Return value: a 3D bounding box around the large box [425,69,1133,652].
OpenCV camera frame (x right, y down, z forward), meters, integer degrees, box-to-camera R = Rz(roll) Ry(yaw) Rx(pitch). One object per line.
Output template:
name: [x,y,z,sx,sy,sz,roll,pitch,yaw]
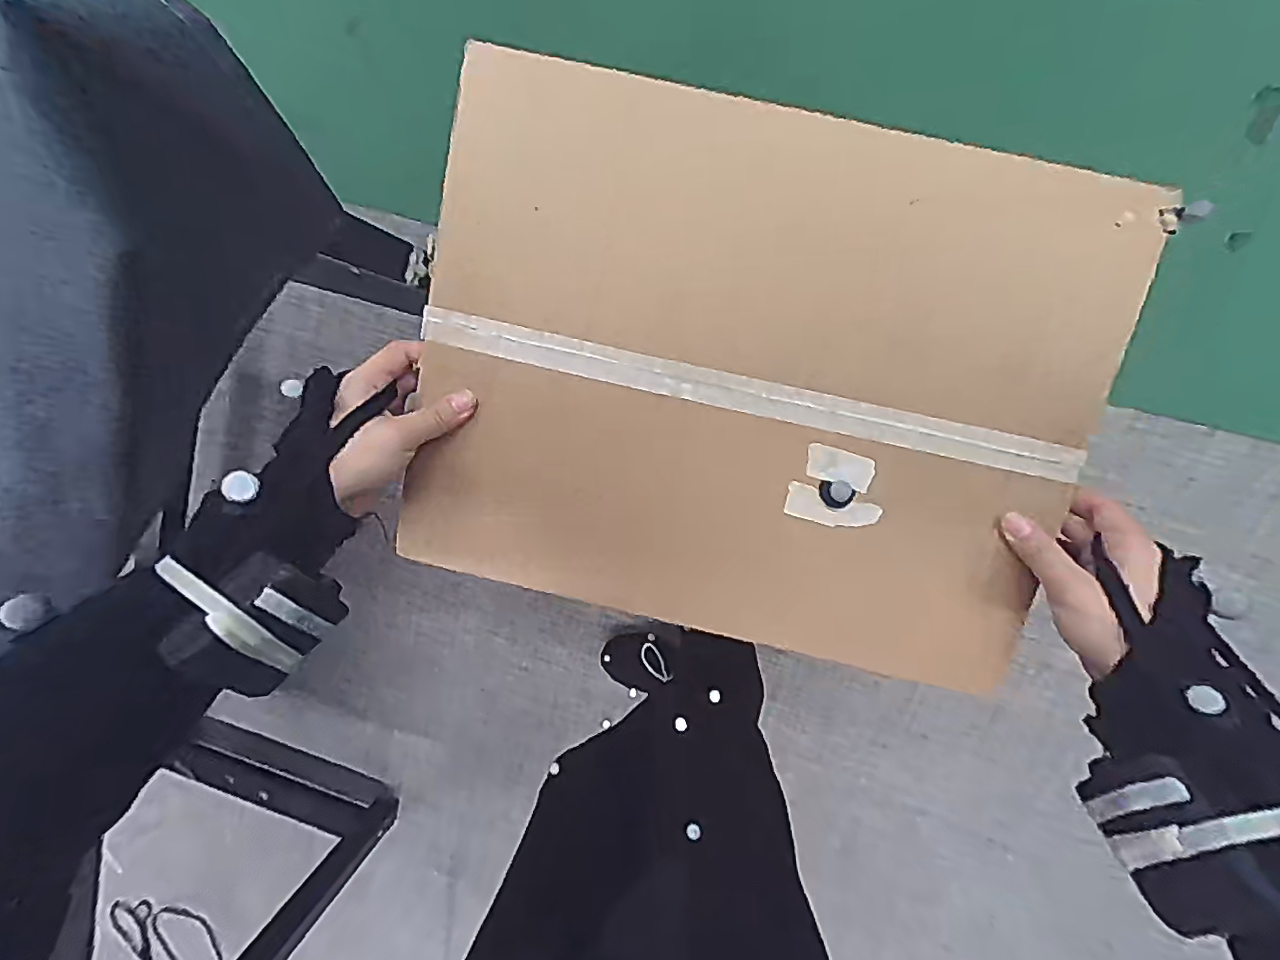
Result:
large box: [0.077,-0.090,0.495,0.408,0.320,0.320,12,101,1]
